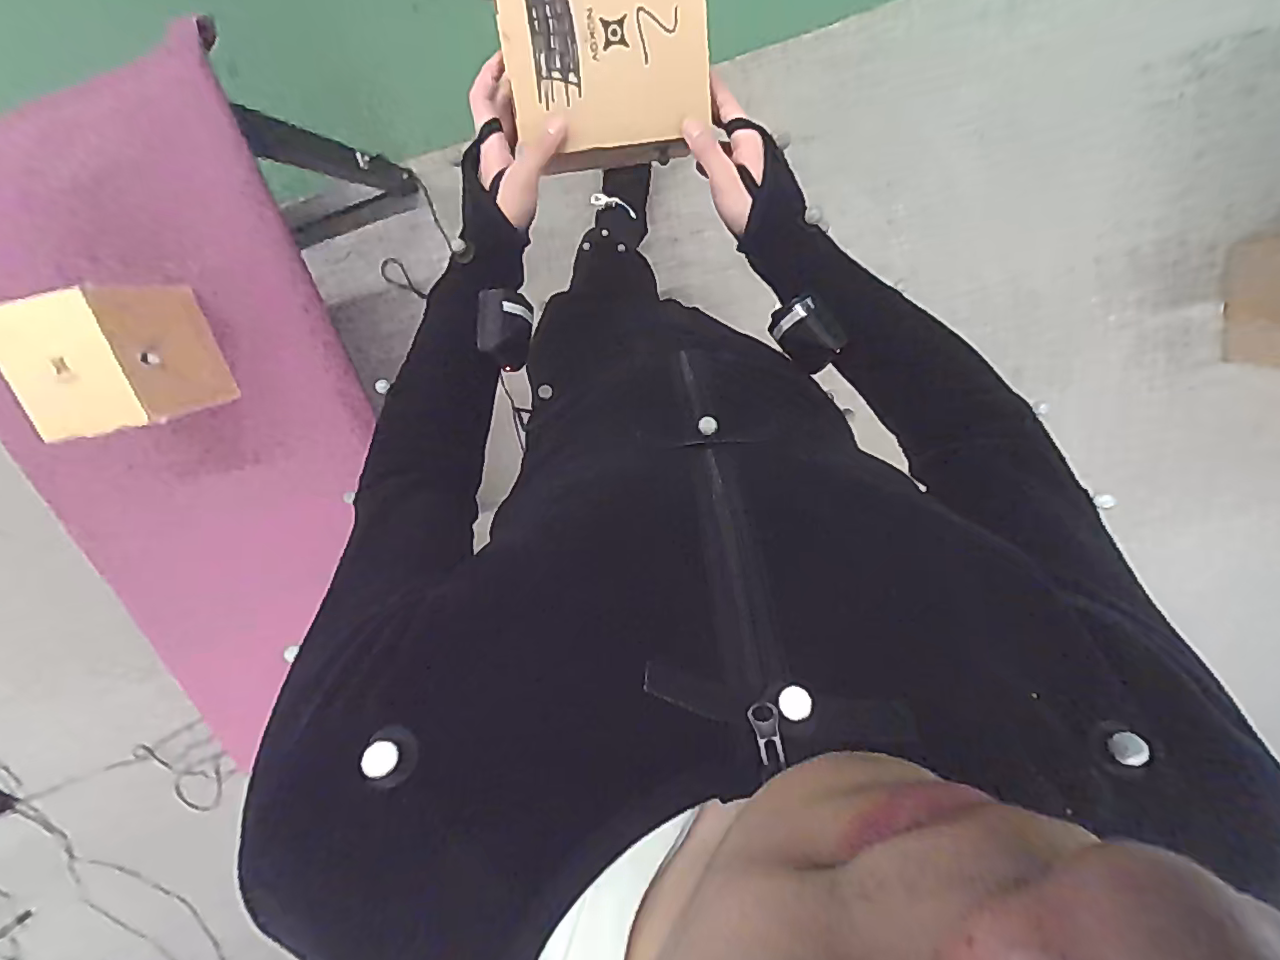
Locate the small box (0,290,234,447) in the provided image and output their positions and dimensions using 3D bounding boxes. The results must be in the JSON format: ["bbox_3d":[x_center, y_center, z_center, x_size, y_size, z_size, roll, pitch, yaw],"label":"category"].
[{"bbox_3d":[-0.735,-0.164,0.760,0.168,0.176,0.179,-10,111,5],"label":"small box"}]
